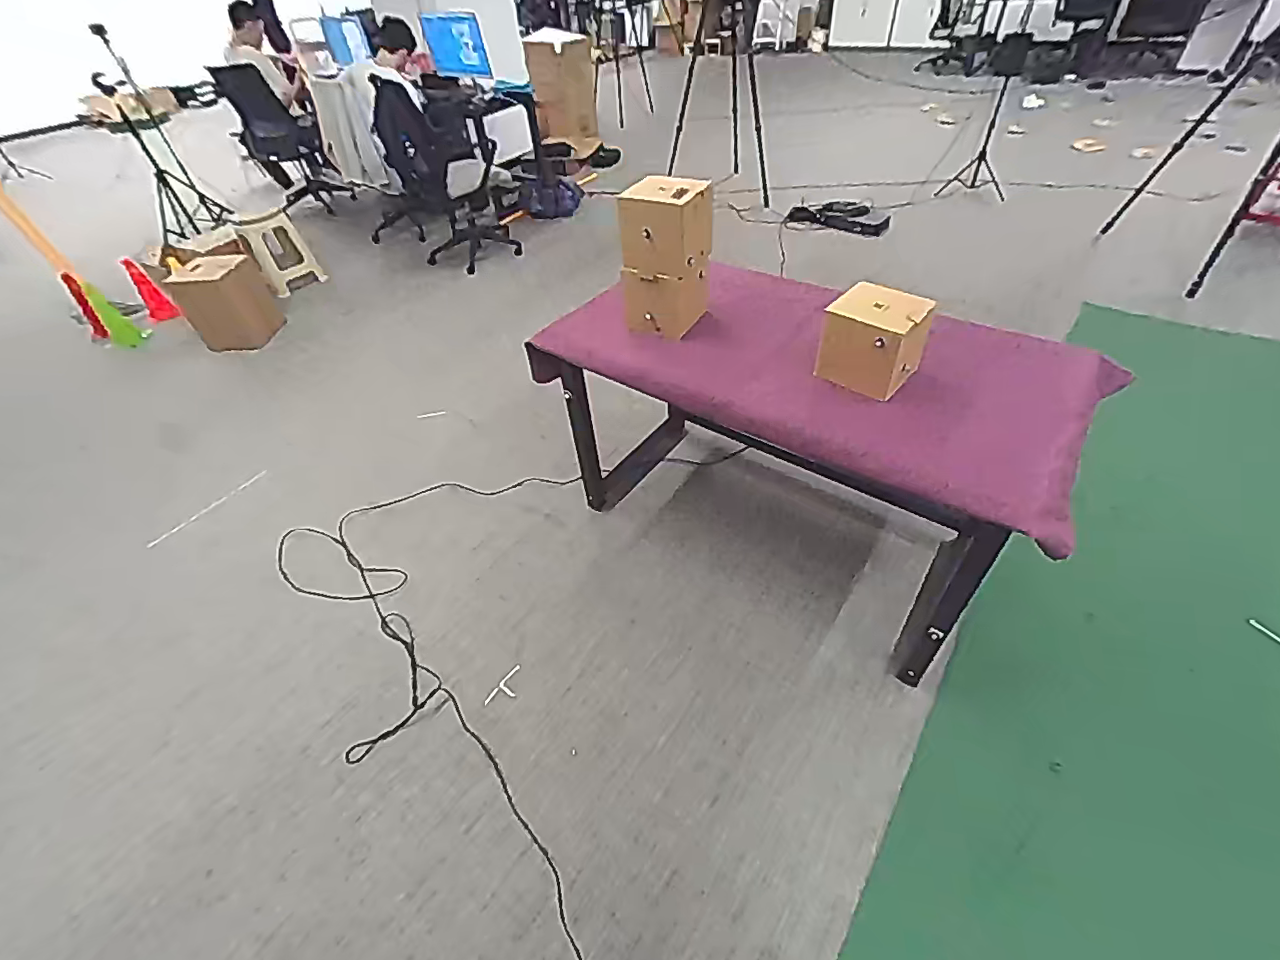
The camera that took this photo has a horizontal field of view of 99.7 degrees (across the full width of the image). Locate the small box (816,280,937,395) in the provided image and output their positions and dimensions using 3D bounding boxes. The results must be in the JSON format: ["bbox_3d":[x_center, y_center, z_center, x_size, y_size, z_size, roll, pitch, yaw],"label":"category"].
[{"bbox_3d":[0.511,-0.313,1.193,0.179,0.176,0.168,31,56,31],"label":"small box"}]

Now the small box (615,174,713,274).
[{"bbox_3d":[0.063,-0.619,1.312,0.179,0.176,0.168,22,50,25],"label":"small box"}]

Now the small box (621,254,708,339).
[{"bbox_3d":[0.069,-0.501,1.431,0.168,0.176,0.179,20,51,25],"label":"small box"}]
